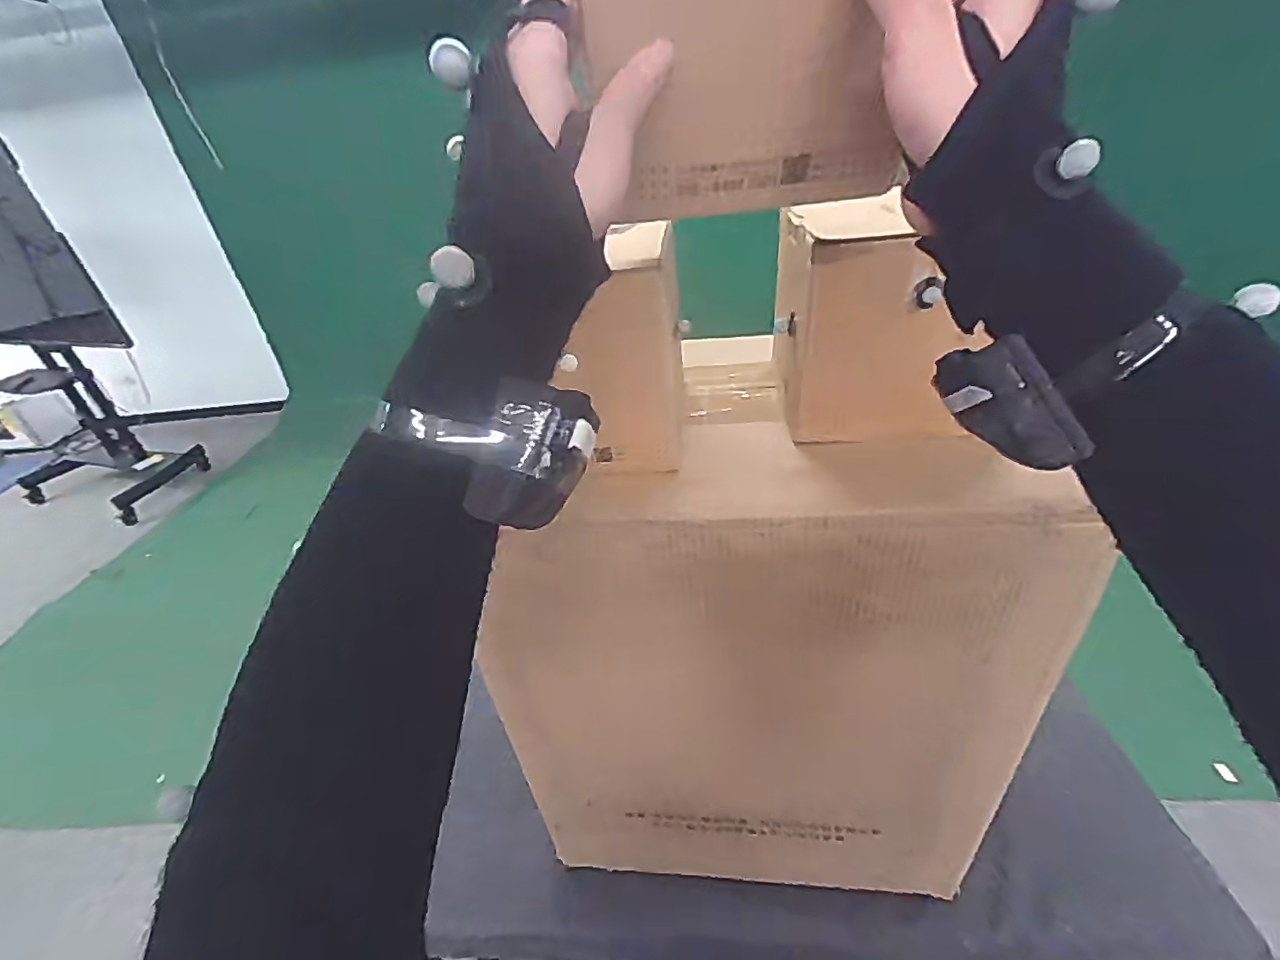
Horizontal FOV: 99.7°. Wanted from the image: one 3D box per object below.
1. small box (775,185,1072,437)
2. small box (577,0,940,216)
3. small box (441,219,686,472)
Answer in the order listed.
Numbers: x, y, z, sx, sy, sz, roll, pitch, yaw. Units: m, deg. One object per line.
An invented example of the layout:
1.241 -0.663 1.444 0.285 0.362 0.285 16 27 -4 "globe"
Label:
0.216 -0.148 0.477 0.179 0.176 0.168 -1 37 7 "small box"
0.048 -0.271 0.296 0.168 0.176 0.179 -6 53 -1 "small box"
-0.048 -0.123 0.489 0.168 0.176 0.179 -3 36 8 "small box"
